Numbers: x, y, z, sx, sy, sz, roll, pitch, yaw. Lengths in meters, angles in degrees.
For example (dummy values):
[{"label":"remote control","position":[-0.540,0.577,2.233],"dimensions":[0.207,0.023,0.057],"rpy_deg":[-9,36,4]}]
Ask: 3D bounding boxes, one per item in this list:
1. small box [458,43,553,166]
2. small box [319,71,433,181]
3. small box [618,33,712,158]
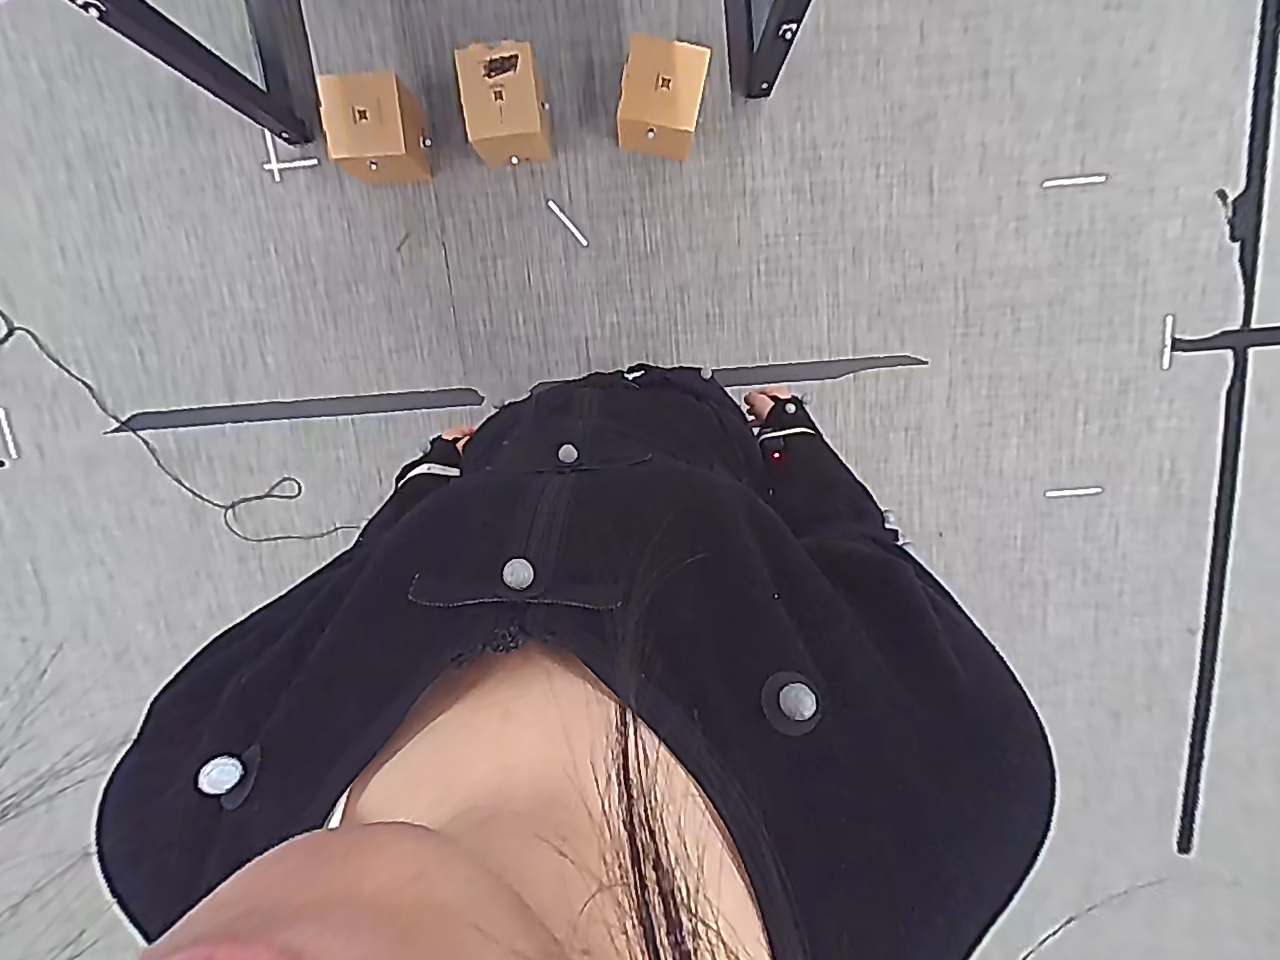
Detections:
[{"label":"small box","position":[-0.301,-0.855,1.245],"dimensions":[0.168,0.176,0.179],"rpy_deg":[-6,102,2]},{"label":"small box","position":[-0.604,-0.812,1.257],"dimensions":[0.179,0.176,0.168],"rpy_deg":[-3,102,0]},{"label":"small box","position":[0.055,-0.870,1.243],"dimensions":[0.179,0.176,0.168],"rpy_deg":[12,102,-1]}]
